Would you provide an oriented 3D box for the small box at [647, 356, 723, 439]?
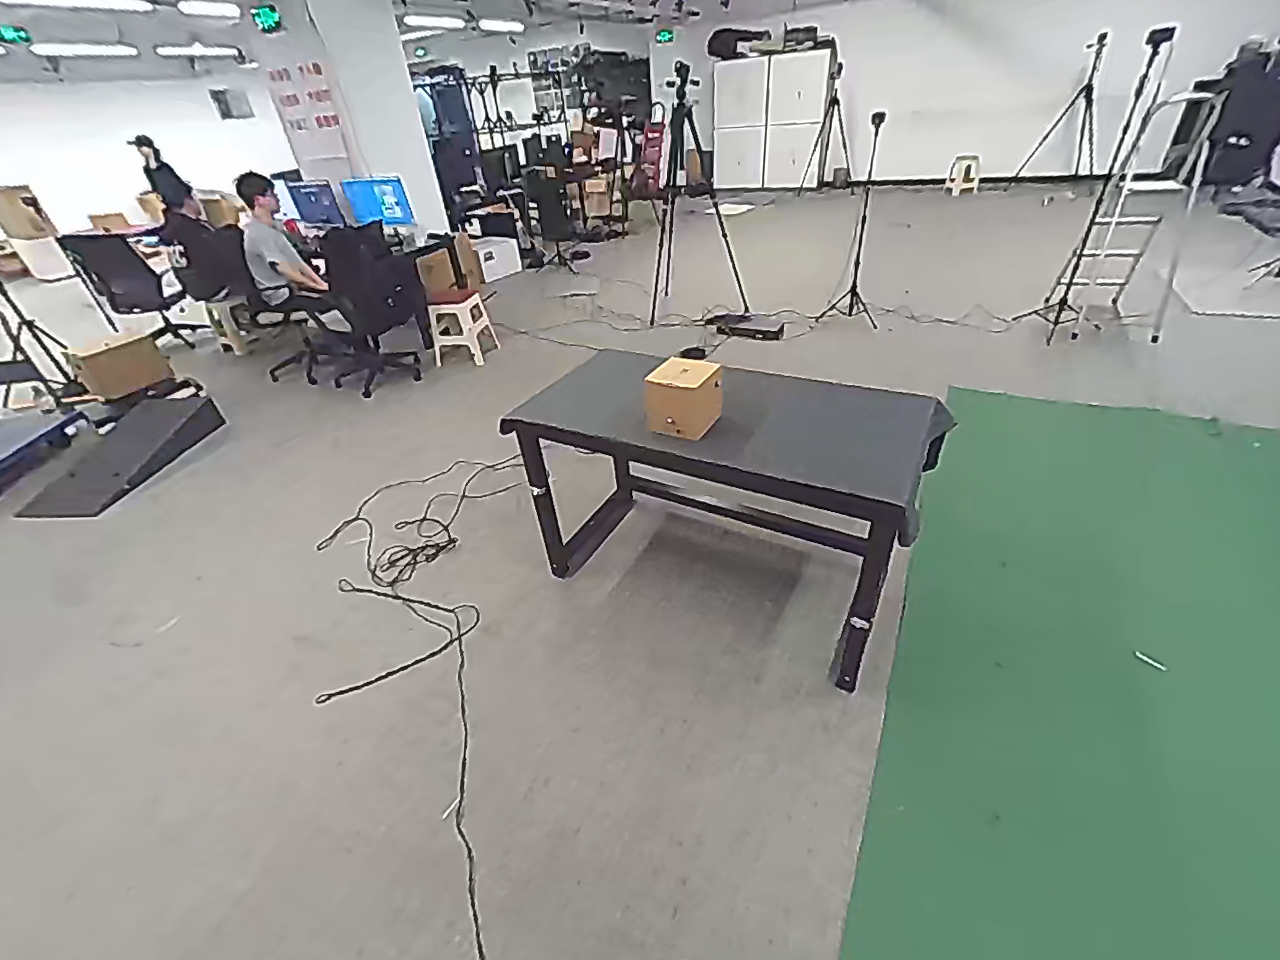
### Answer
[{"bbox_3d":[0.134,-0.243,1.584,0.168,0.176,0.179,15,40,28],"label":"small box"}]
